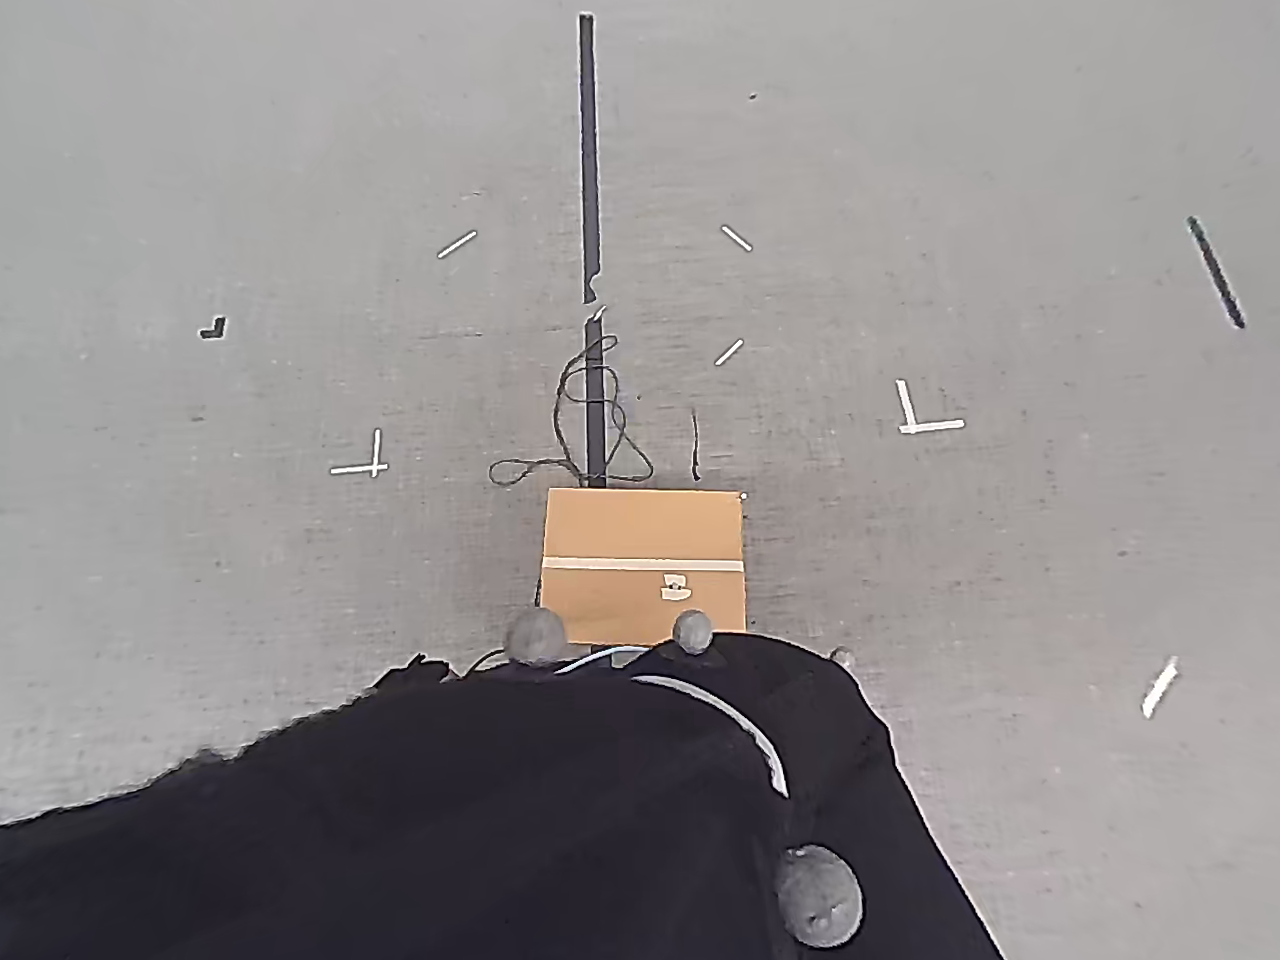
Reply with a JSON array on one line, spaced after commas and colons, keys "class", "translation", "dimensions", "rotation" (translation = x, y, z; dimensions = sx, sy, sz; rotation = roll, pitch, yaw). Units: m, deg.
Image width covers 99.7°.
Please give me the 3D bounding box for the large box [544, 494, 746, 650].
[{"class": "large box", "translation": [0.011, 0.224, 1.238], "dimensions": [0.408, 0.320, 0.320], "rotation": [2, 74, 1]}]
